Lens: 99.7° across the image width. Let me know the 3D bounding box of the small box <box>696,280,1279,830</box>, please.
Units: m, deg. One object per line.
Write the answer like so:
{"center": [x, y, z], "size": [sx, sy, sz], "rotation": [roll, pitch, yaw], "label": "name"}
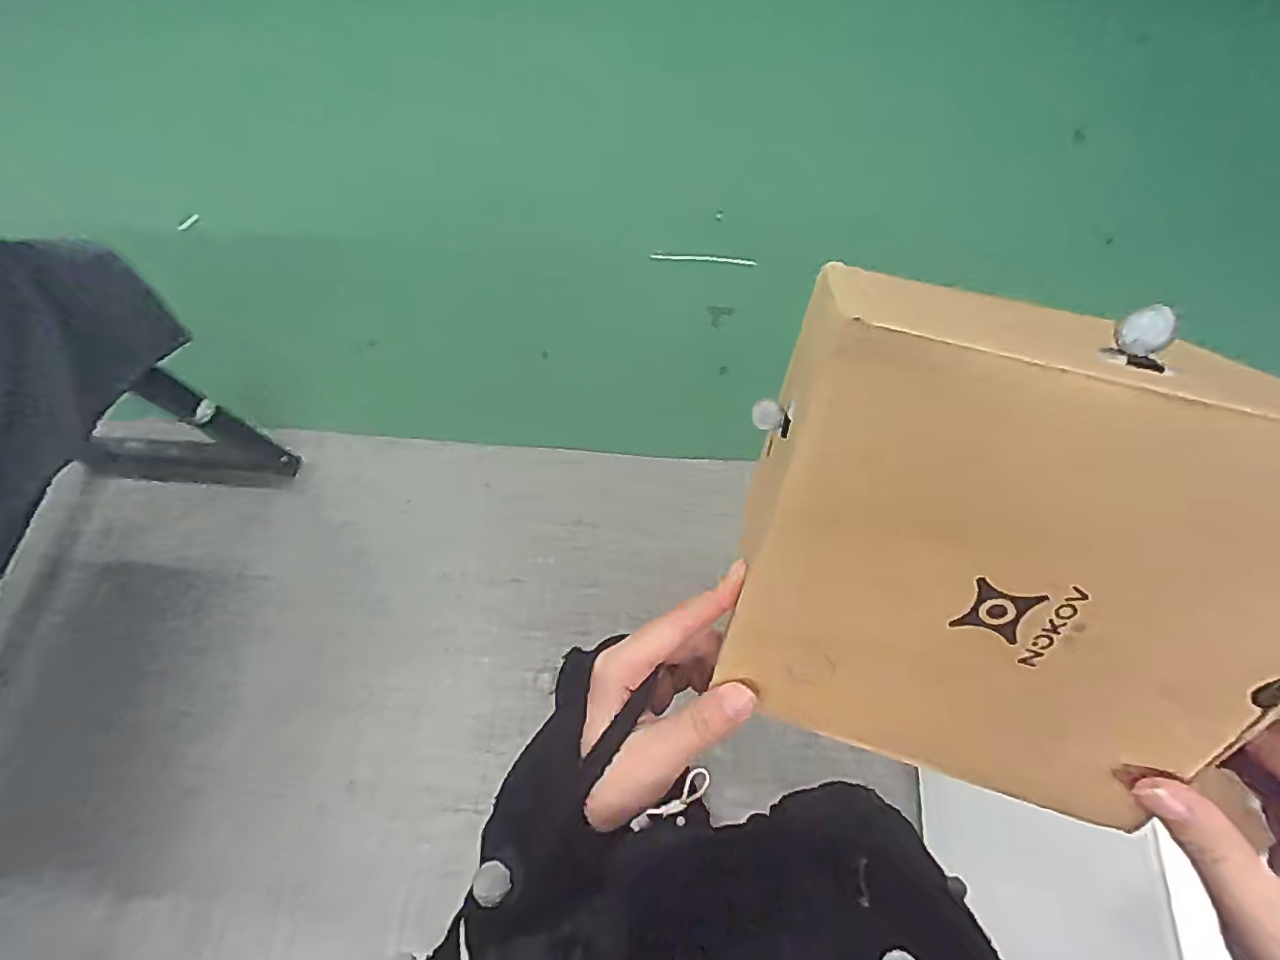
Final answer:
{"center": [0.139, 0.009, 0.254], "size": [0.179, 0.168, 0.176], "rotation": [15, 27, 7], "label": "small box"}
